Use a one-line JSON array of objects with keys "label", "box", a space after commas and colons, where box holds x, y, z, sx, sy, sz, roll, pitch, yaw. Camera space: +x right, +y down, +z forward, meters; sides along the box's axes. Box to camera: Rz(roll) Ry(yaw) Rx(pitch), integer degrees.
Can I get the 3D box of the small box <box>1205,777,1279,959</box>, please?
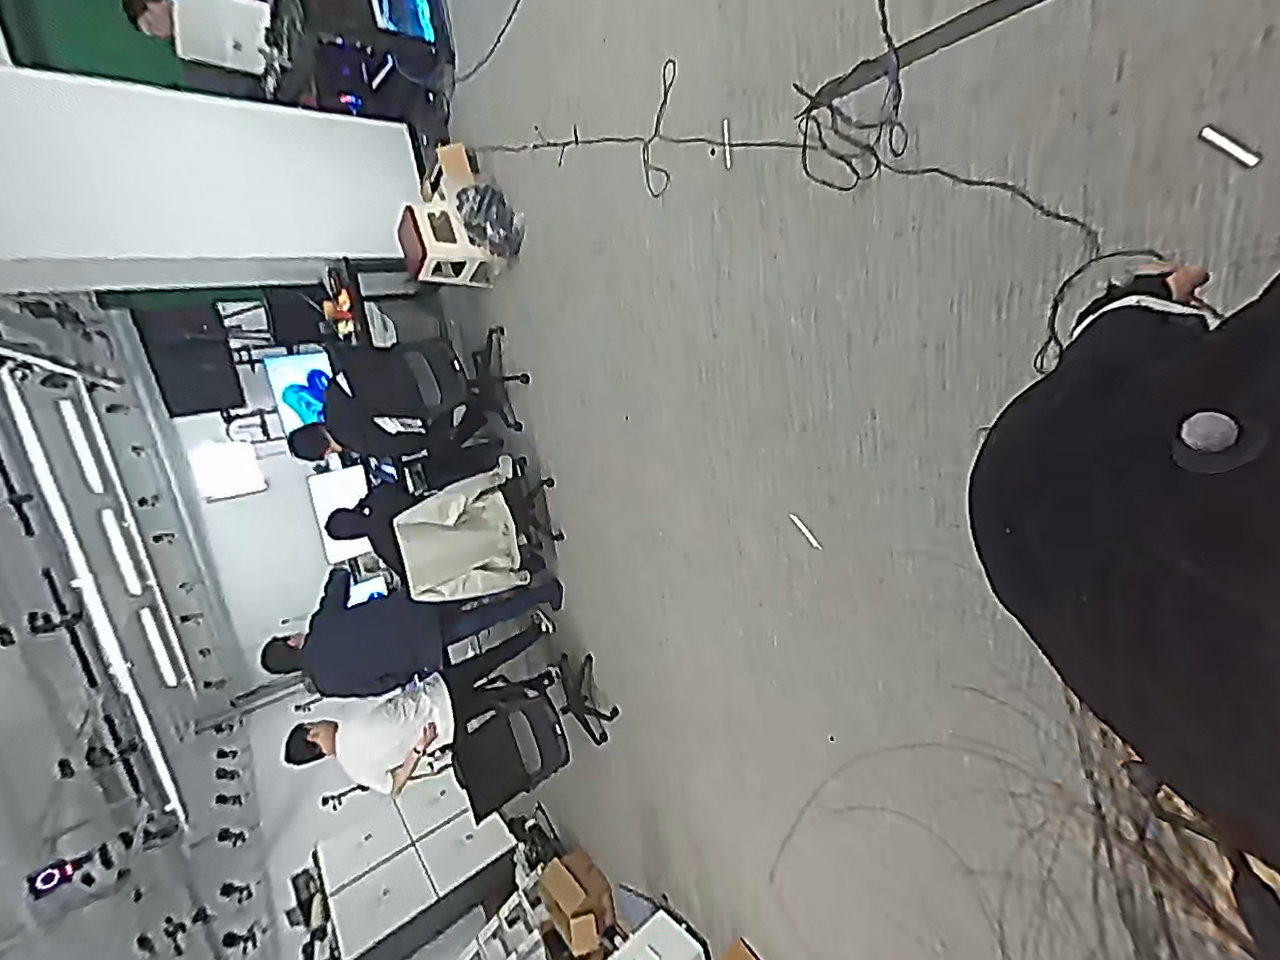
[{"label": "small box", "box": [0.888, 0.540, 0.710, 0.168, 0.176, 0.179, 16, 116, 50]}]
